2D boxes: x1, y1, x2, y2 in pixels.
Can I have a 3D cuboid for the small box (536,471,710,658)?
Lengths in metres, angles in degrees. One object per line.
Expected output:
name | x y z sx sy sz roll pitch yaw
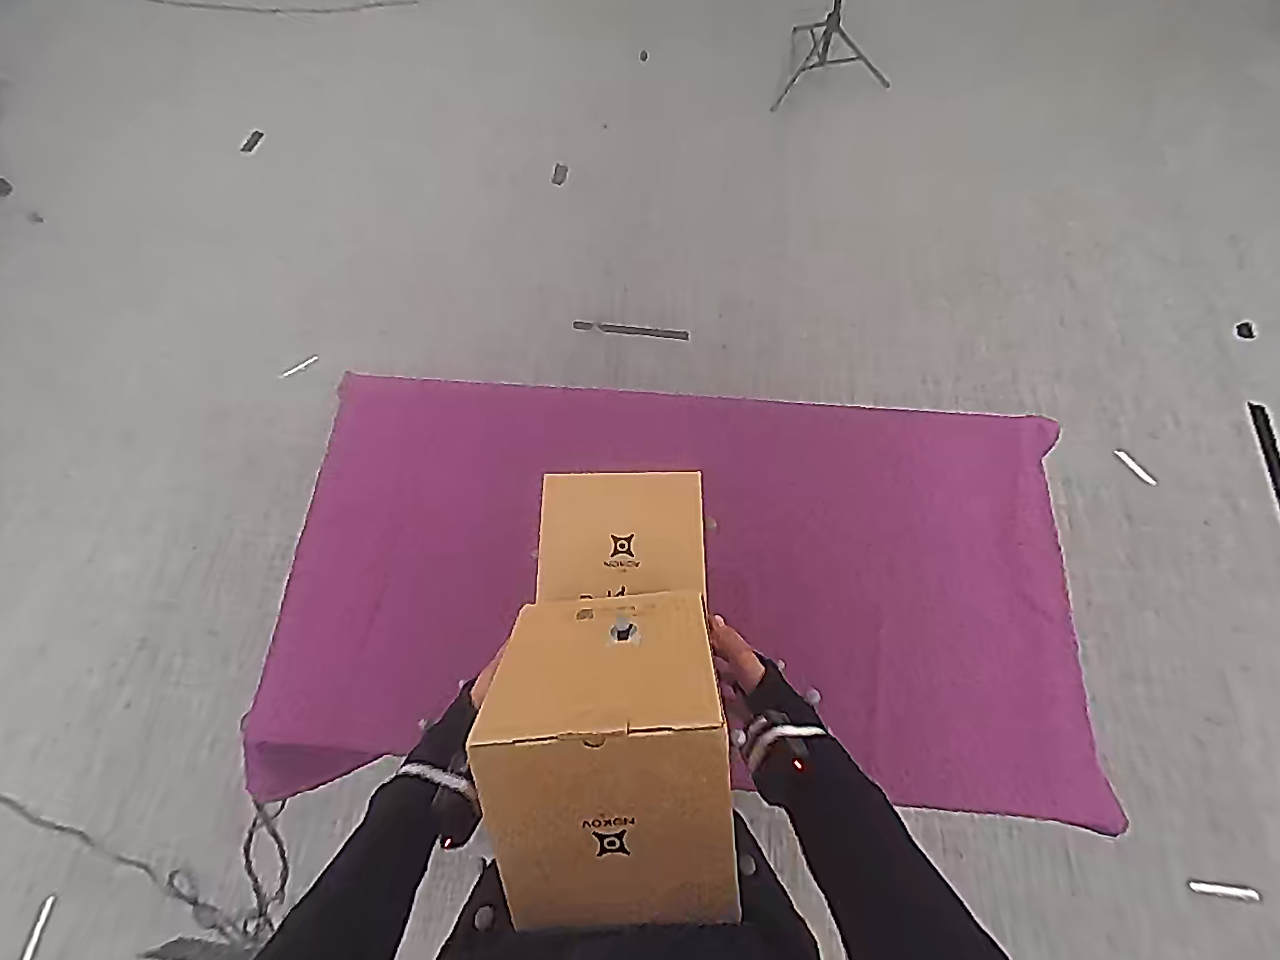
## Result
small box | -0.012 0.101 0.606 0.168 0.176 0.179 -1 69 2
